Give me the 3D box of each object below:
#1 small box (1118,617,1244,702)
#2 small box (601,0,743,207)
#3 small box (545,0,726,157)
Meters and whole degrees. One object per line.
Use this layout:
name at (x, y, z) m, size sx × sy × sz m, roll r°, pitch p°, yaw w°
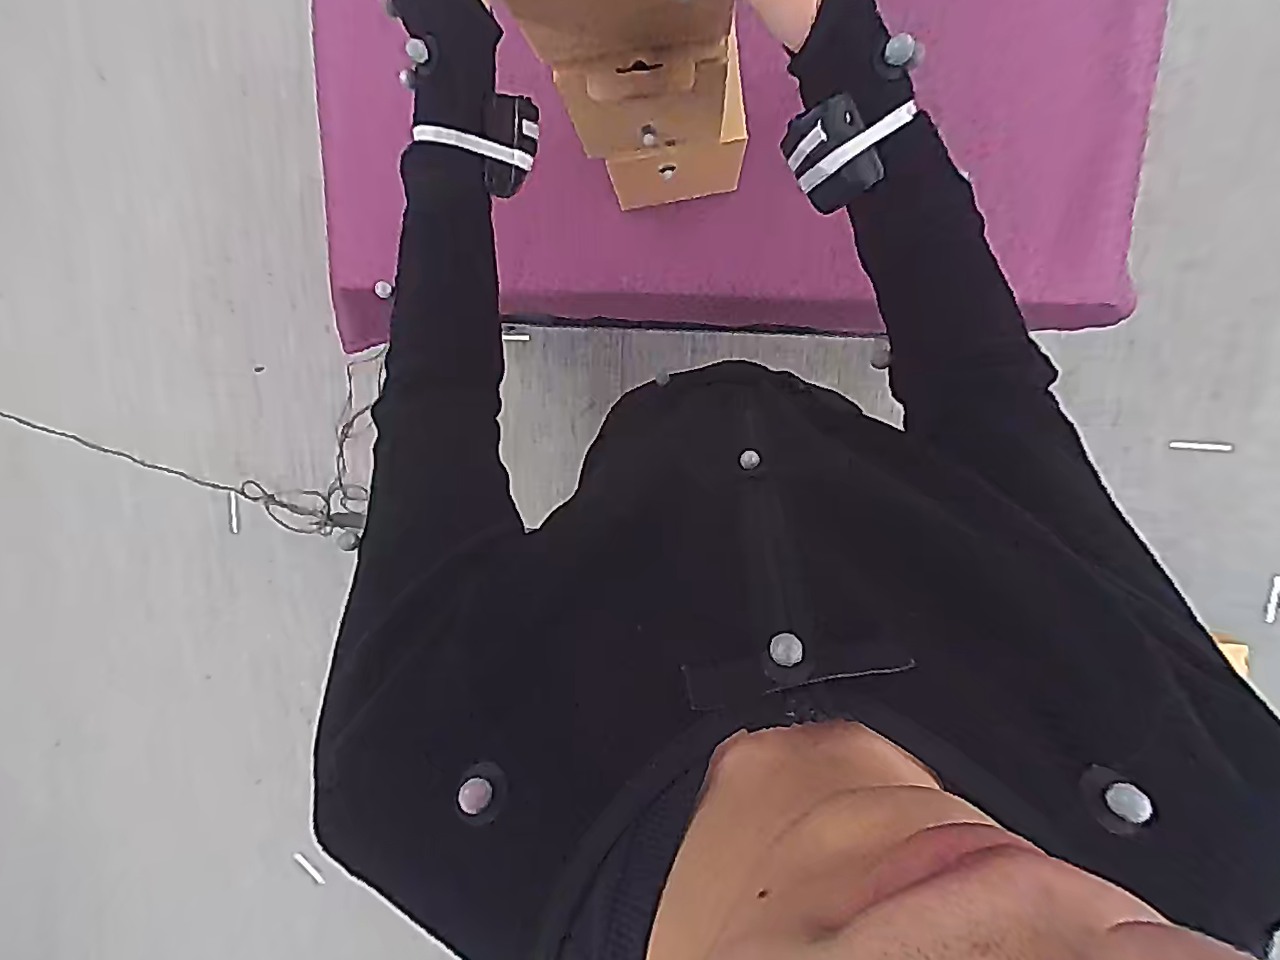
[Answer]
small box at (1.468, 0.484, 1.480) m, size 0.179 × 0.176 × 0.168 m, roll 0°, pitch 99°, yaw 5°
small box at (0.036, -0.488, 0.725) m, size 0.179 × 0.176 × 0.168 m, roll -7°, pitch 98°, yaw 6°
small box at (0.000, -0.472, 0.563) m, size 0.168 × 0.176 × 0.179 m, roll -2°, pitch 98°, yaw 6°
